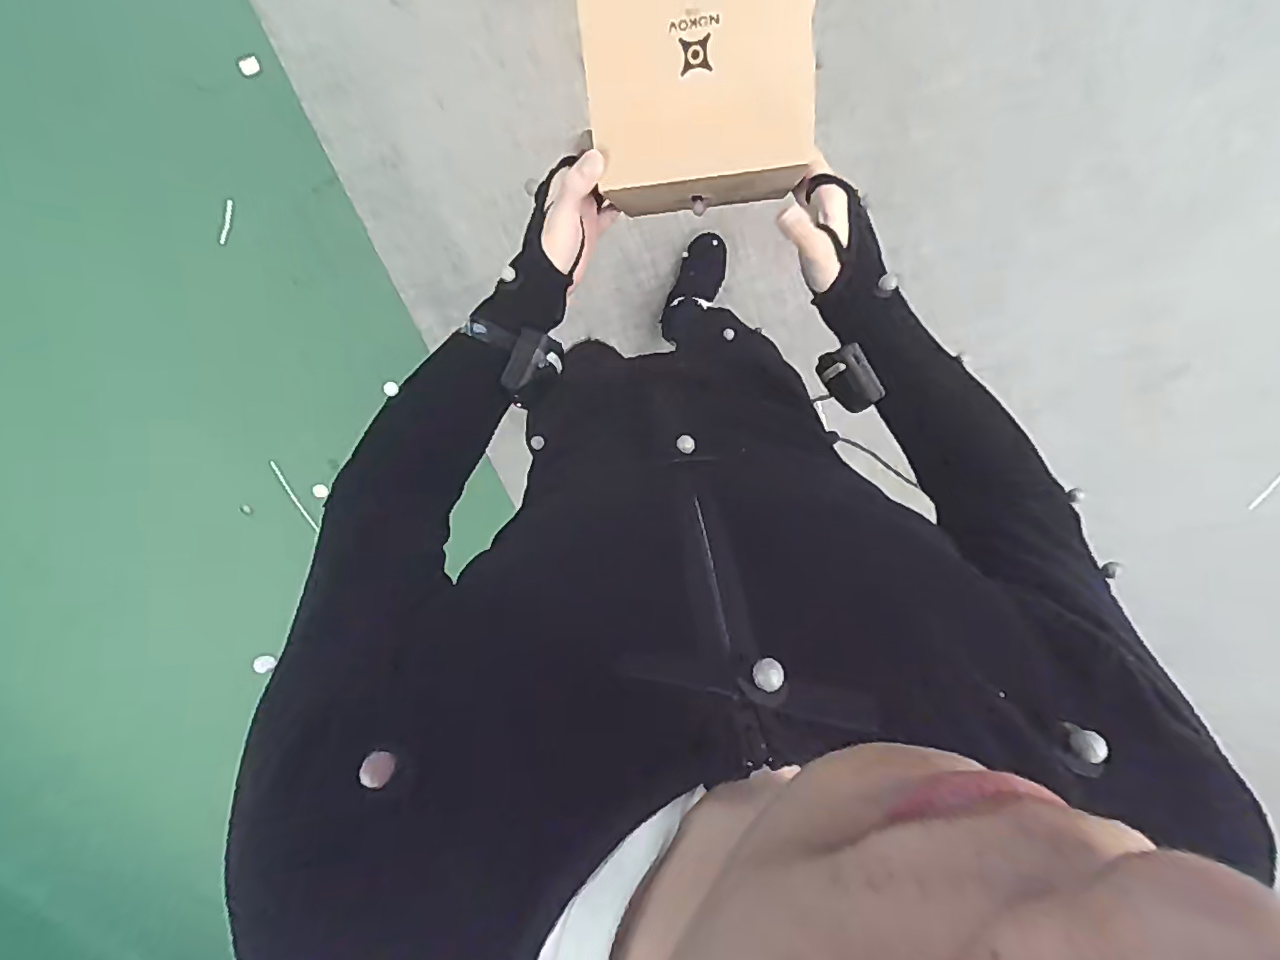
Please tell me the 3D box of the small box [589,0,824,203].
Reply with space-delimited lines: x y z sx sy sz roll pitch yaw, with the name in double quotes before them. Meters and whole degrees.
"small box" 0.056 -0.343 0.457 0.168 0.176 0.179 -3 109 8
